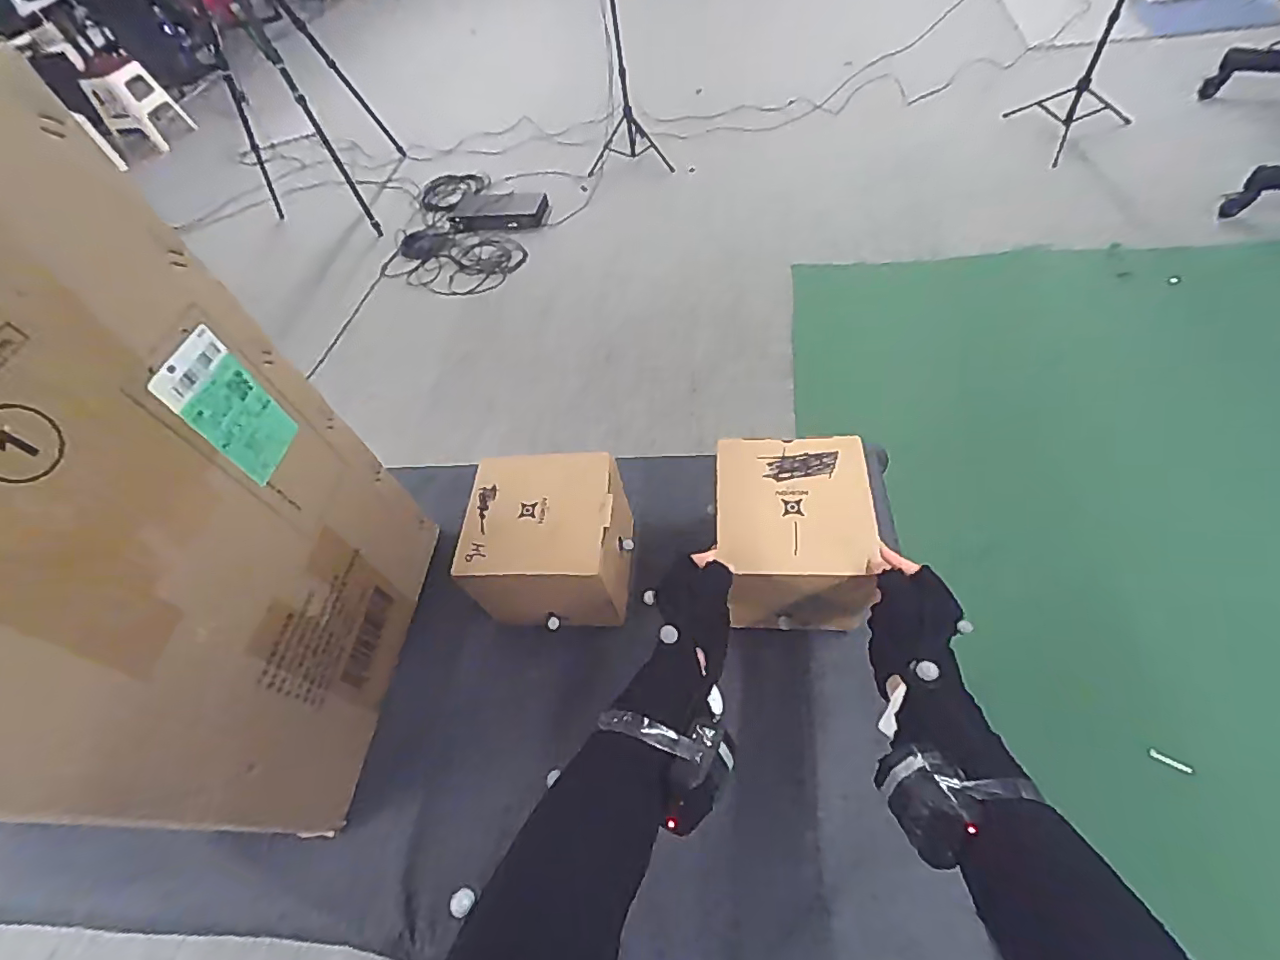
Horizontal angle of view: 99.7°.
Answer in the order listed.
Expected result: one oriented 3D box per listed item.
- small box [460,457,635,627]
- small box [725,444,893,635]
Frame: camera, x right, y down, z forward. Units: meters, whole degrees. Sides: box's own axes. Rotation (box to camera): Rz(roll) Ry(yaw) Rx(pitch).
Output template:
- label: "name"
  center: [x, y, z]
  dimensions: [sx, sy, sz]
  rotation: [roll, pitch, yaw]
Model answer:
- label: "small box"
  center: [-0.103, 0.085, 0.709]
  dimensions: [0.179, 0.176, 0.168]
  rotation: [-1, 55, 8]
- label: "small box"
  center: [0.188, 0.076, 0.659]
  dimensions: [0.168, 0.176, 0.179]
  rotation: [-2, 57, 9]
